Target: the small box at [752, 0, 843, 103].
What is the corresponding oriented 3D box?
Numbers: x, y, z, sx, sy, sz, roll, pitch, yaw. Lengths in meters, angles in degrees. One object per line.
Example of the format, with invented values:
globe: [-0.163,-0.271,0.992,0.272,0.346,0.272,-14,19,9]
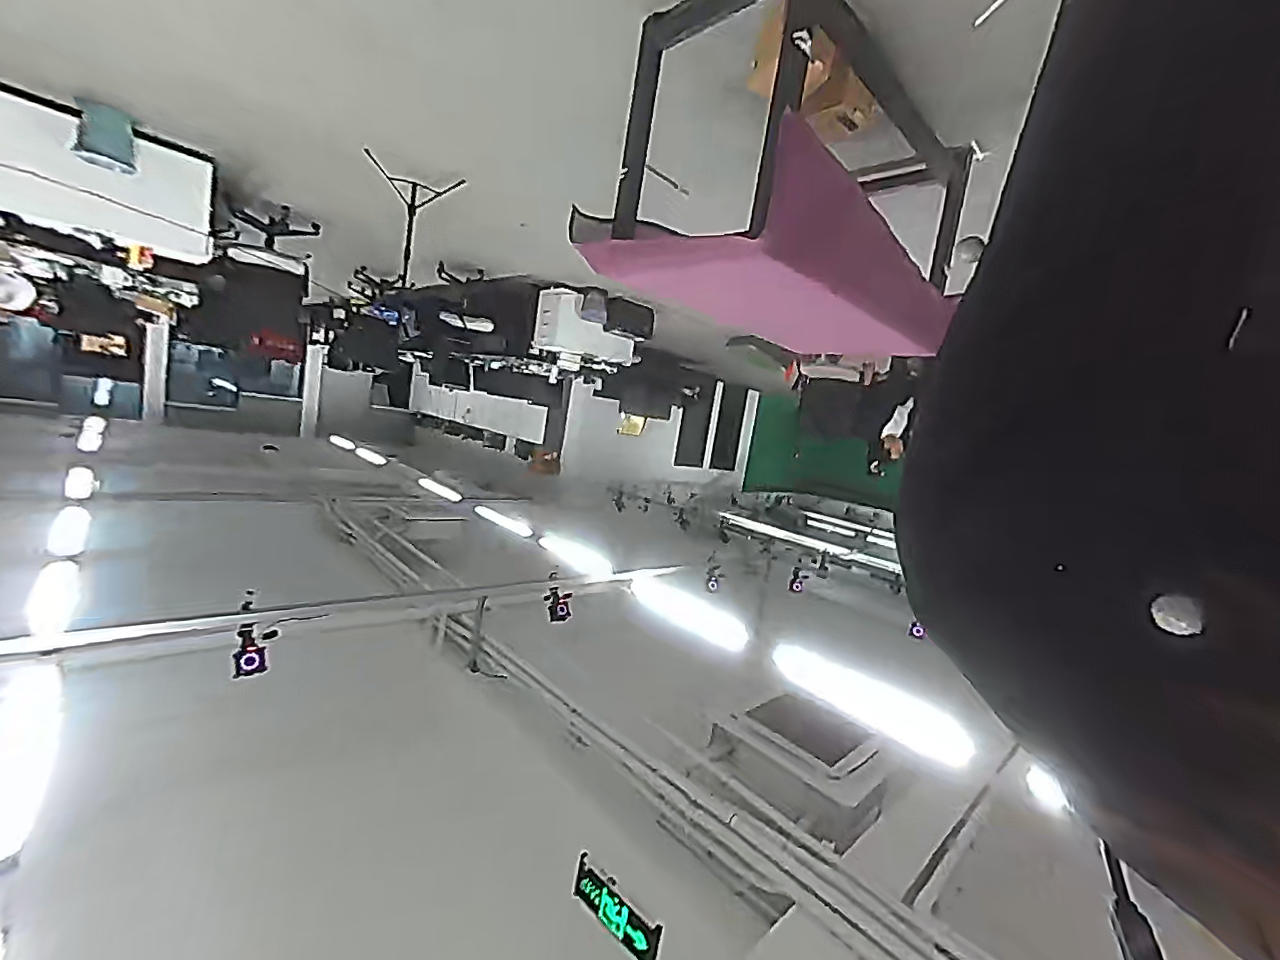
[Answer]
small box: [0.432,-1.191,1.484,0.168,0.176,0.179,7,-172,-16]
